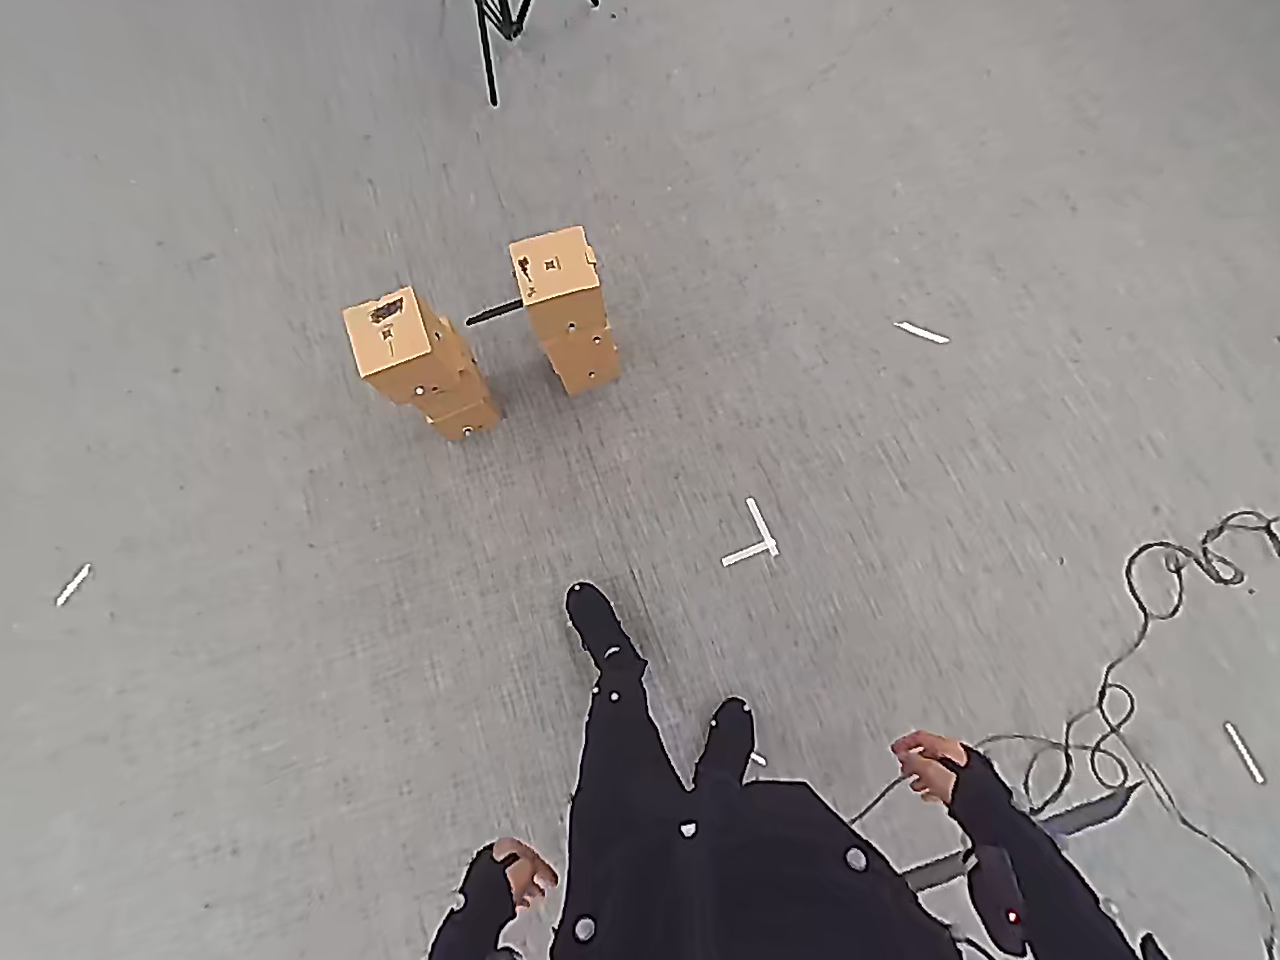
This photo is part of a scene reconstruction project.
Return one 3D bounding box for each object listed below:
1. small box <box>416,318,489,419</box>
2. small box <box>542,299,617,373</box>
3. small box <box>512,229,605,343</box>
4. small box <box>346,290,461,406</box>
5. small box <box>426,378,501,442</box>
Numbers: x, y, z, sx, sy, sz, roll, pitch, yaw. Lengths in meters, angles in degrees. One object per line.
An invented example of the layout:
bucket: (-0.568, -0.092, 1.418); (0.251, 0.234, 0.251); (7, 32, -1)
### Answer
small box: (-0.523, -0.283, 1.411); (0.179, 0.176, 0.168); (-25, 76, -3)
small box: (-0.169, -0.402, 1.426); (0.179, 0.176, 0.168); (-15, 75, -2)
small box: (-0.183, -0.447, 1.268); (0.179, 0.176, 0.168); (-15, 75, -2)
small box: (-0.537, -0.297, 1.246); (0.168, 0.176, 0.179); (-21, 76, -1)
small box: (-0.525, -0.235, 1.568); (0.168, 0.176, 0.179); (-23, 76, -3)
